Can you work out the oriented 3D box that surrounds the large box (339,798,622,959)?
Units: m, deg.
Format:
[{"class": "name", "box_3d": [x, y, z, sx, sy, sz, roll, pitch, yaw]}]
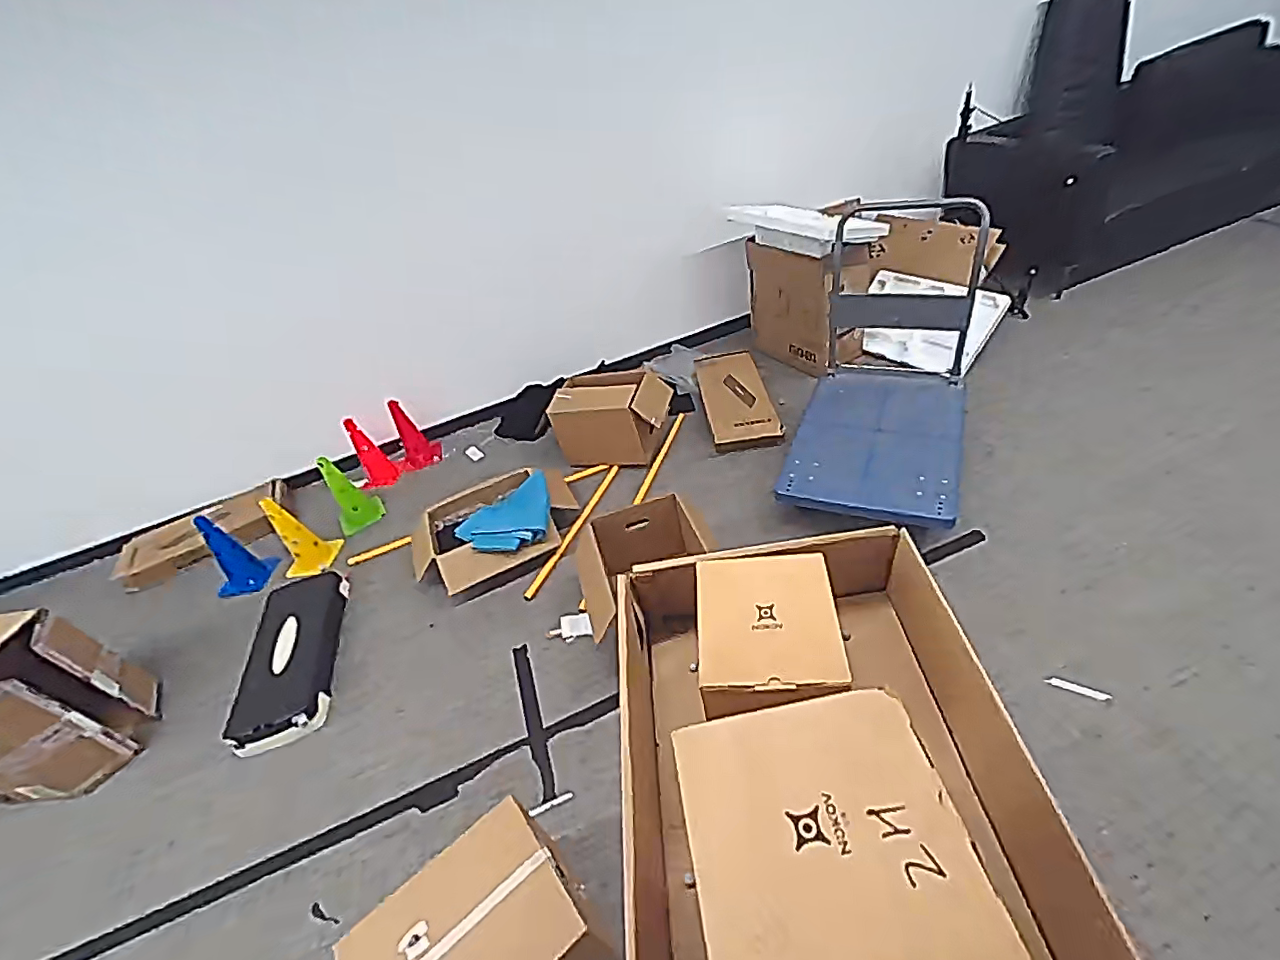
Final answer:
[{"class": "large box", "box_3d": [-0.305, 0.969, 1.104, 0.408, 0.320, 0.320, -35, 43, -22]}]

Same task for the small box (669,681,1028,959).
[{"class": "small box", "box_3d": [0.130, 0.280, 0.401, 0.179, 0.176, 0.168, -12, 42, 2]}]
